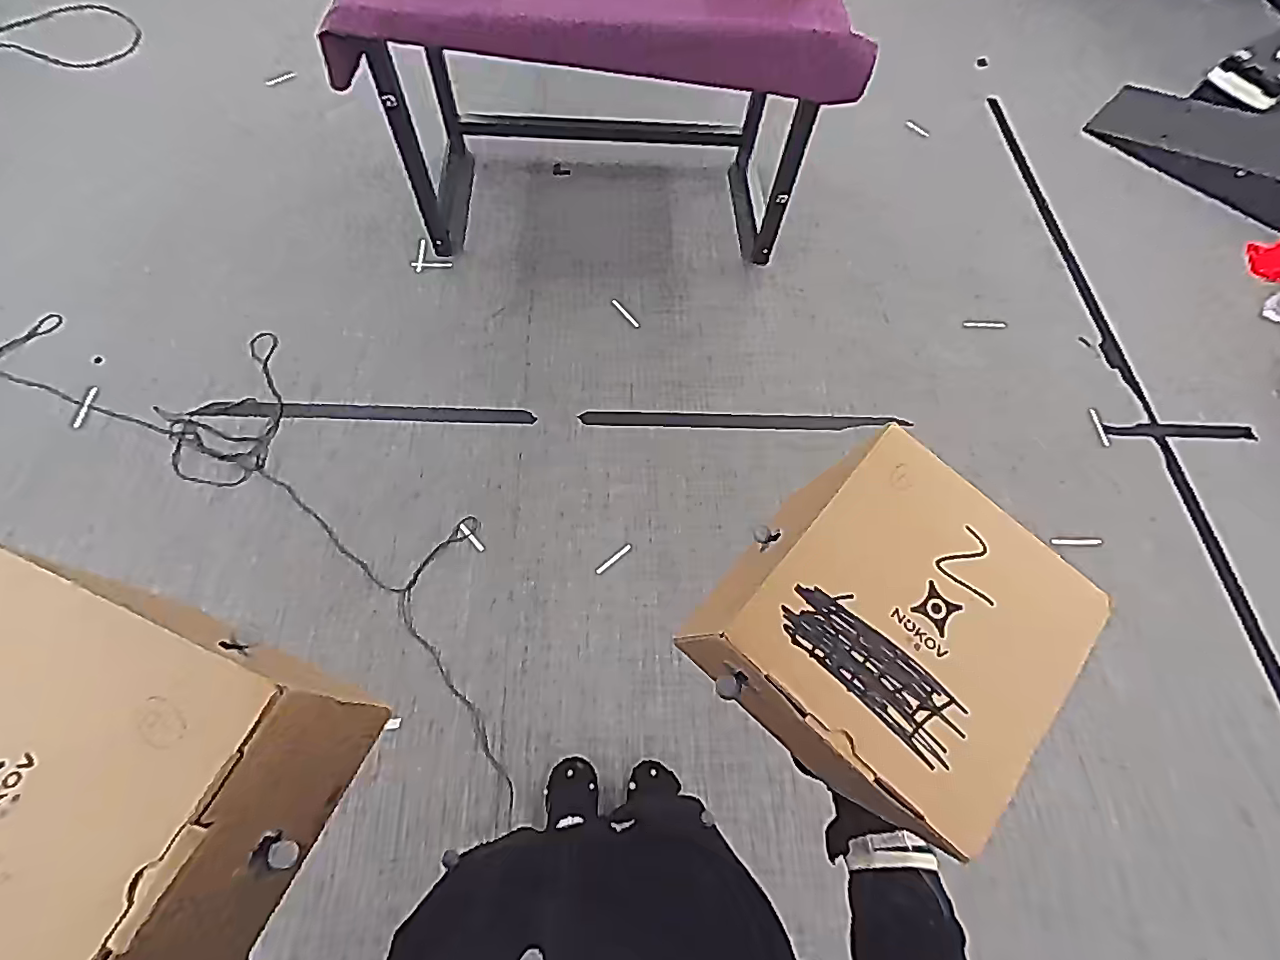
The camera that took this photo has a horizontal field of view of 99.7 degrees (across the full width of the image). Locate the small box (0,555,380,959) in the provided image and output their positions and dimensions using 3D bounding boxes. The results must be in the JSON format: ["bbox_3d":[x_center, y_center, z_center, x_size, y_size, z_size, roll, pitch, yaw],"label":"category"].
[{"bbox_3d":[-0.280,0.168,0.297,0.179,0.176,0.168,23,63,3],"label":"small box"}]
